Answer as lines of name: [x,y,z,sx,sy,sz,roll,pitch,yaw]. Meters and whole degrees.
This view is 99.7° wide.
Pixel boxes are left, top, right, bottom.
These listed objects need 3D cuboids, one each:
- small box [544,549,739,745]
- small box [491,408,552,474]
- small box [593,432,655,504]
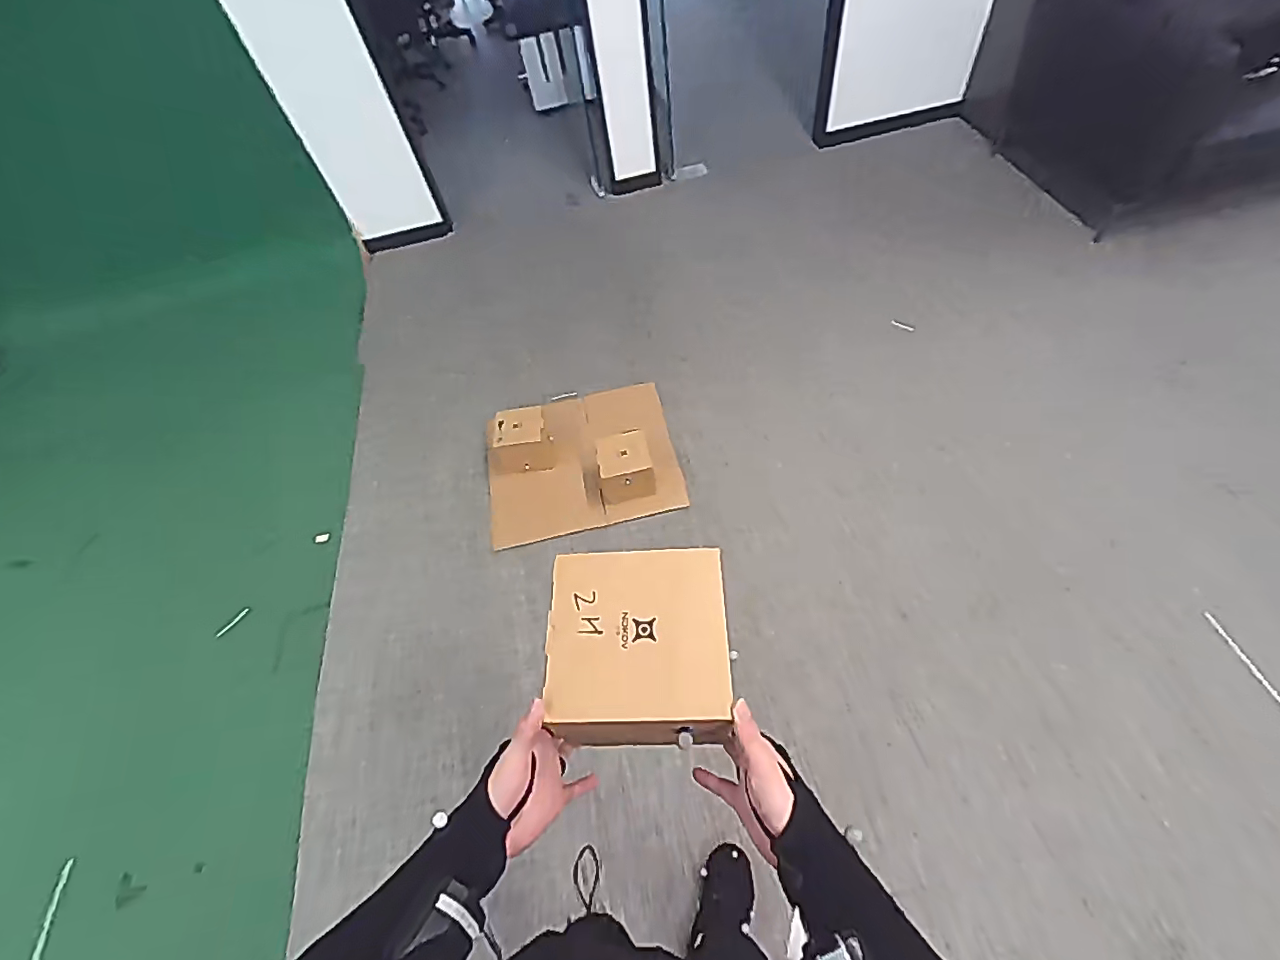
small box: [0.006,0.185,0.587,0.179,0.176,0.168,-3,57,4]
small box: [-0.426,-0.139,1.977,0.179,0.176,0.168,-6,55,4]
small box: [-0.052,-0.037,1.860,0.179,0.176,0.168,-12,56,0]
